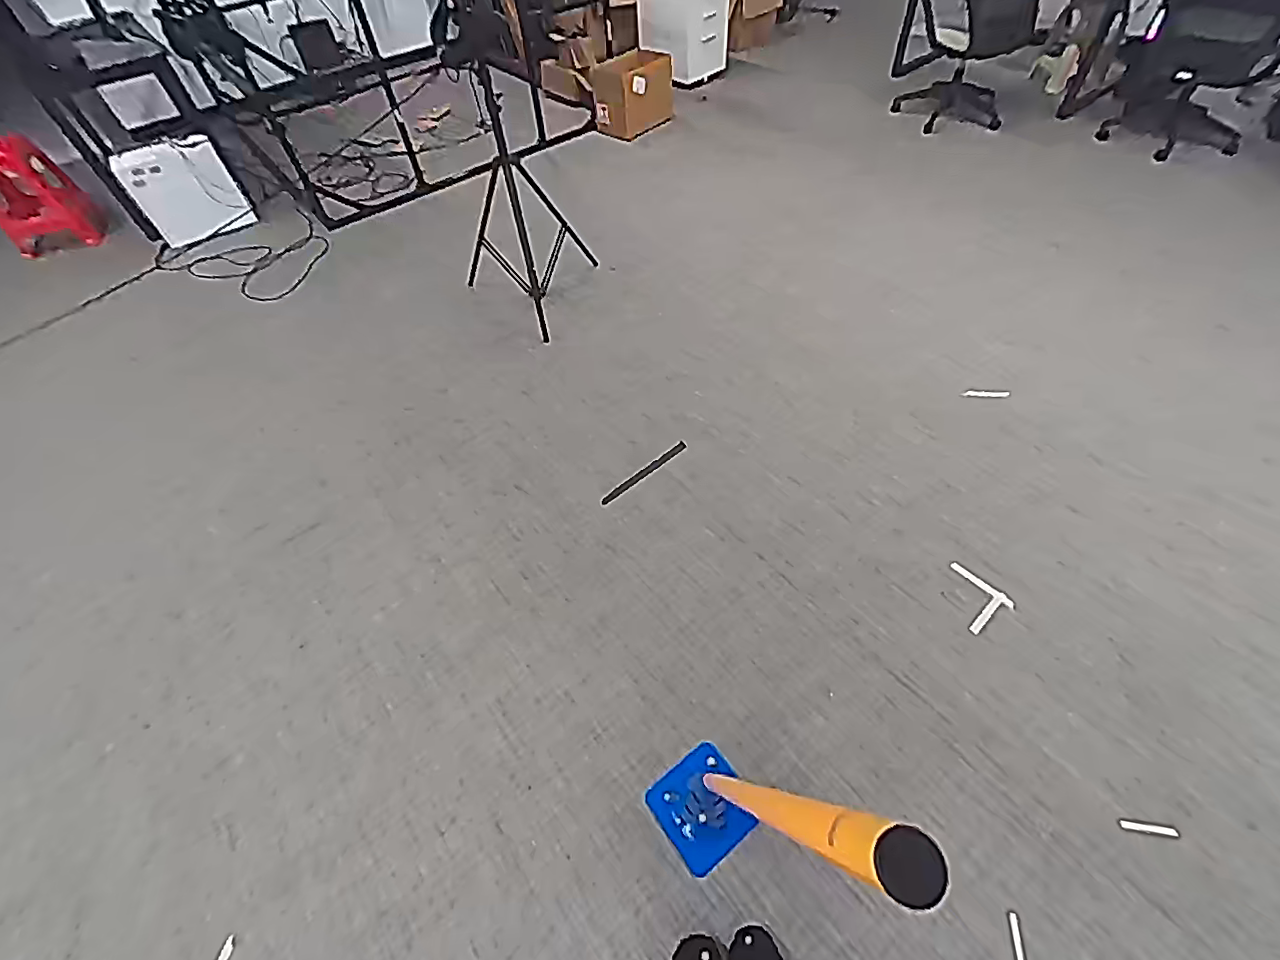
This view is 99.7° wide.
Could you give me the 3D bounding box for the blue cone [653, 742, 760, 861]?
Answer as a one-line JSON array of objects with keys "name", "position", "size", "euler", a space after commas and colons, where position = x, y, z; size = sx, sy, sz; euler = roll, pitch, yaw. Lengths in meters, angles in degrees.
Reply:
[{"name": "blue cone", "position": [0.137, 0.616, 1.082], "size": [0.192, 0.380, 0.193], "euler": [-31, 57, -19]}]
